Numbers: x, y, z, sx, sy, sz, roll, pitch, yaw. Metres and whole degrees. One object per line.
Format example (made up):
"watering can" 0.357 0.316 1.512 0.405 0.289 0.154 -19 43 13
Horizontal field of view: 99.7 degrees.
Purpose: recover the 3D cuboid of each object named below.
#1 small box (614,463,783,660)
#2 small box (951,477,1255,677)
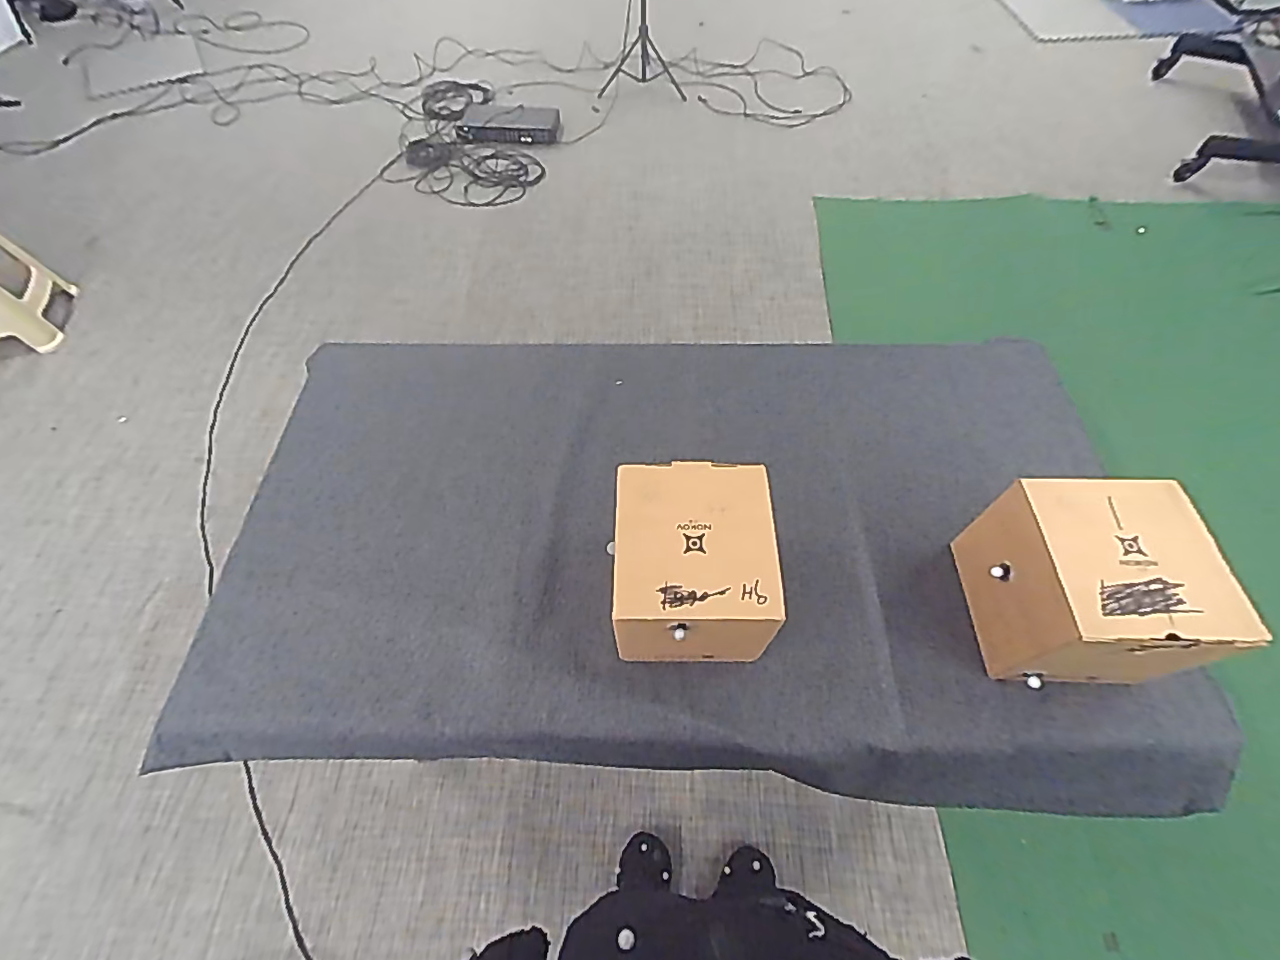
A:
"small box" 0.058 0.098 0.628 0.168 0.176 0.179 0 58 2
"small box" 0.485 0.114 0.606 0.168 0.176 0.179 1 57 3
